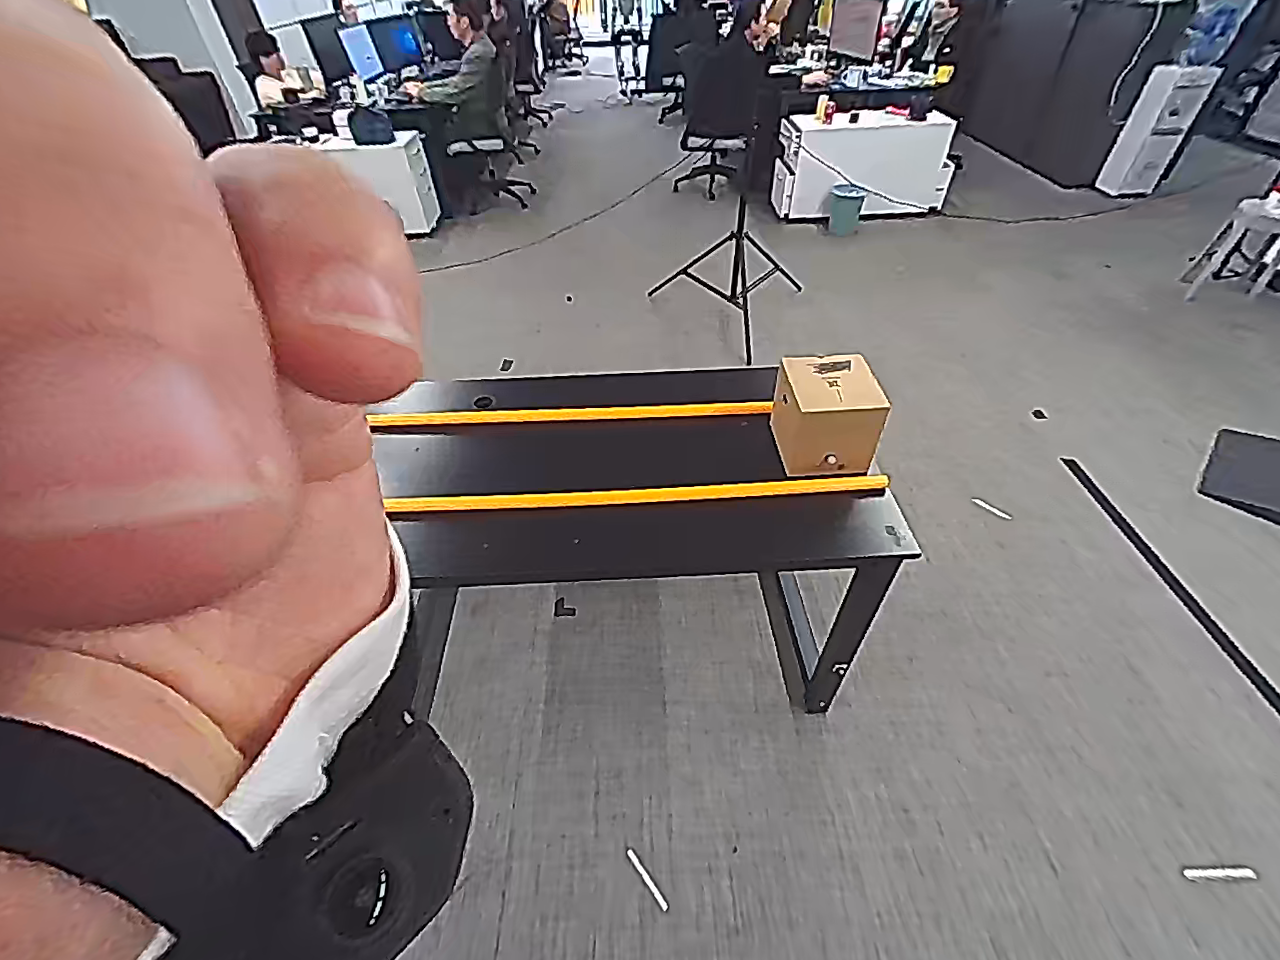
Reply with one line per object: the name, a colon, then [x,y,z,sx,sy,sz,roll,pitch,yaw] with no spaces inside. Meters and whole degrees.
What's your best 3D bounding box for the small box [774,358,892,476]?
small box: [0.378,-0.128,1.096,0.168,0.176,0.179,-3,45,1]
